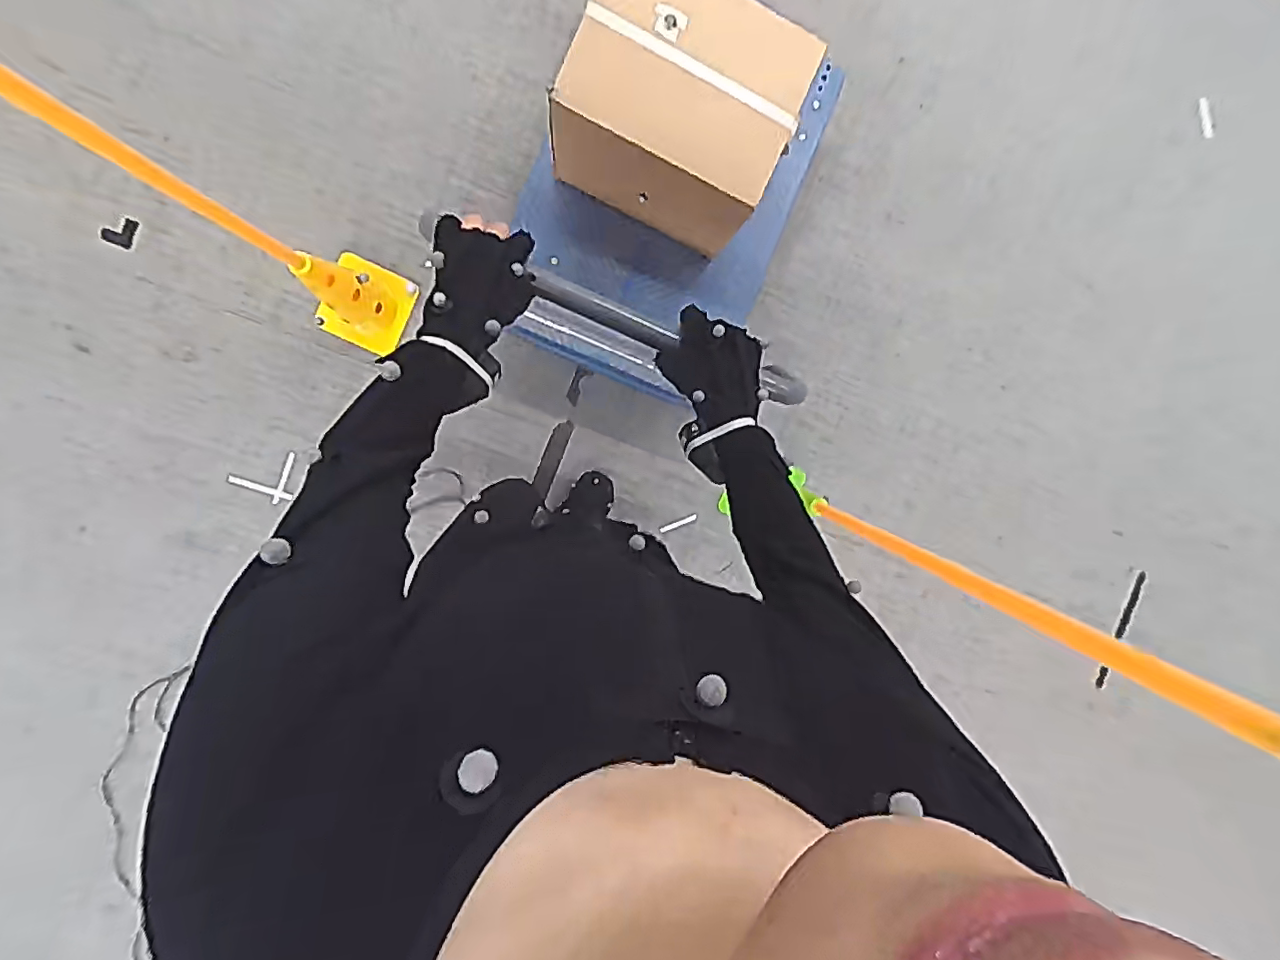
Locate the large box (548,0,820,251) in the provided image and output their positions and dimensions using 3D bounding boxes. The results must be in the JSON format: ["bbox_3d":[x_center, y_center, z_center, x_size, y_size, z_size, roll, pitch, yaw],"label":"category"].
[{"bbox_3d":[0.068,-0.725,1.085,0.408,0.320,0.320,24,93,-8],"label":"large box"}]

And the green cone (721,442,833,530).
[{"bbox_3d":[0.367,0.035,1.336,0.202,0.368,0.200,25,92,-10],"label":"green cone"}]
